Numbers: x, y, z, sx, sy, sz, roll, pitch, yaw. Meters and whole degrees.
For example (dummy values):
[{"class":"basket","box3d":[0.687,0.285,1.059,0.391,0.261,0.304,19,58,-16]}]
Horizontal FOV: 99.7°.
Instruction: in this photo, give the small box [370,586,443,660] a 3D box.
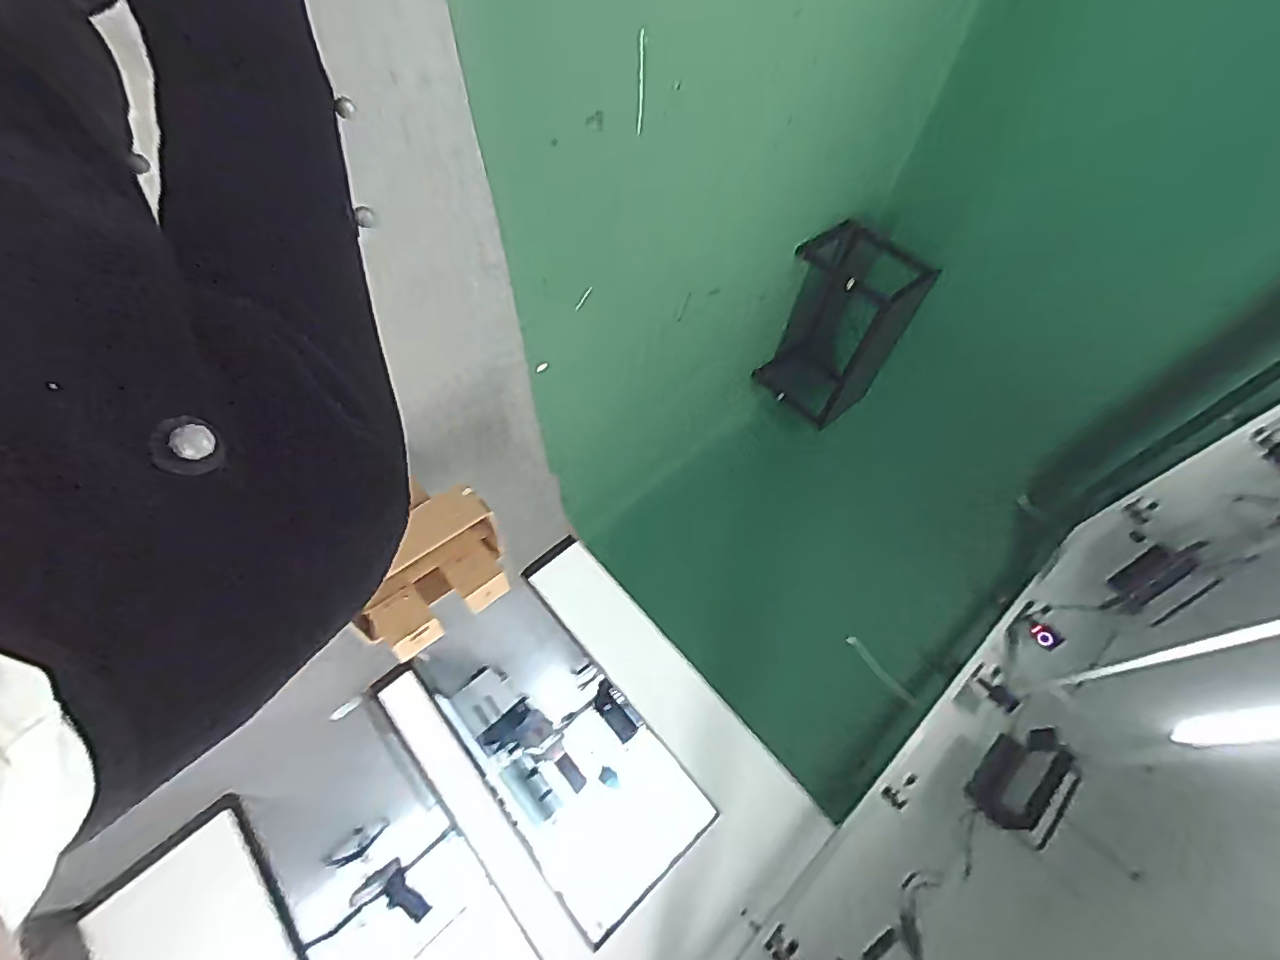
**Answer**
[{"class":"small box","box3d":[-0.838,0.507,1.939,0.168,0.176,0.179,-34,157,-27]}]

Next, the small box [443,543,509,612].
[{"class":"small box","box3d":[-0.626,0.367,2.067,0.168,0.176,0.179,-35,155,-23]}]
